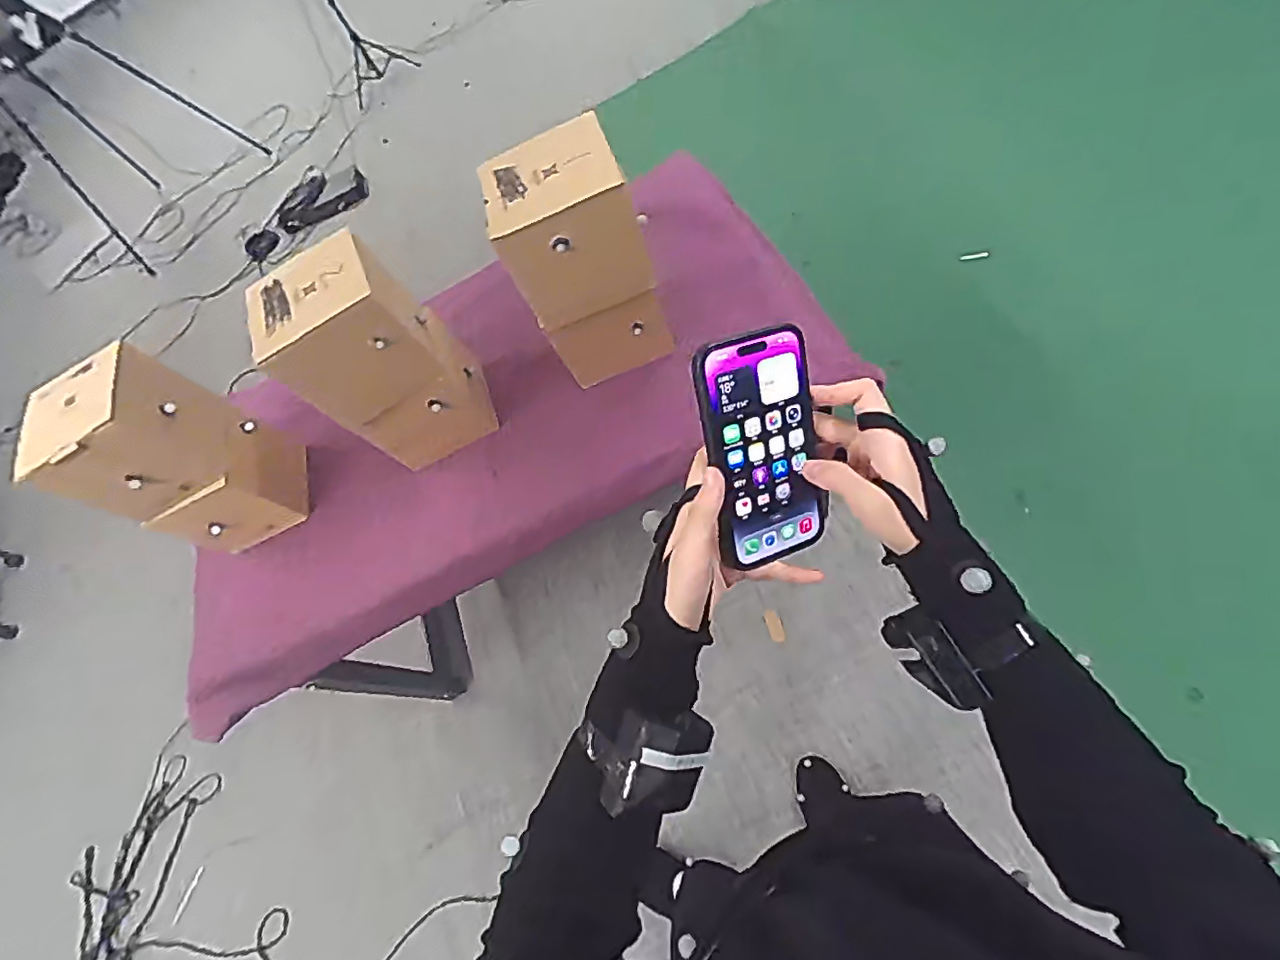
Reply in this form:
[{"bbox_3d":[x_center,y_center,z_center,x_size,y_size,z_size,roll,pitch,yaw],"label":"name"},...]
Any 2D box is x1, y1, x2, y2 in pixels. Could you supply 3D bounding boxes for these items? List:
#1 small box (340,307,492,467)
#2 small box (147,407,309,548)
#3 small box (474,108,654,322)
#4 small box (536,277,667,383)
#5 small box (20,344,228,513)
[{"bbox_3d":[-0.374,-0.152,0.927,0.179,0.176,0.168,-27,60,5],"label":"small box"},{"bbox_3d":[-0.728,0.007,0.974,0.168,0.176,0.179,-26,60,6],"label":"small box"},{"bbox_3d":[-0.100,-0.350,0.741,0.179,0.176,0.168,-21,61,8],"label":"small box"},{"bbox_3d":[-0.065,-0.292,0.891,0.179,0.176,0.168,-21,61,9],"label":"small box"},{"bbox_3d":[-0.779,-0.067,0.836,0.168,0.176,0.179,-30,61,2],"label":"small box"}]
